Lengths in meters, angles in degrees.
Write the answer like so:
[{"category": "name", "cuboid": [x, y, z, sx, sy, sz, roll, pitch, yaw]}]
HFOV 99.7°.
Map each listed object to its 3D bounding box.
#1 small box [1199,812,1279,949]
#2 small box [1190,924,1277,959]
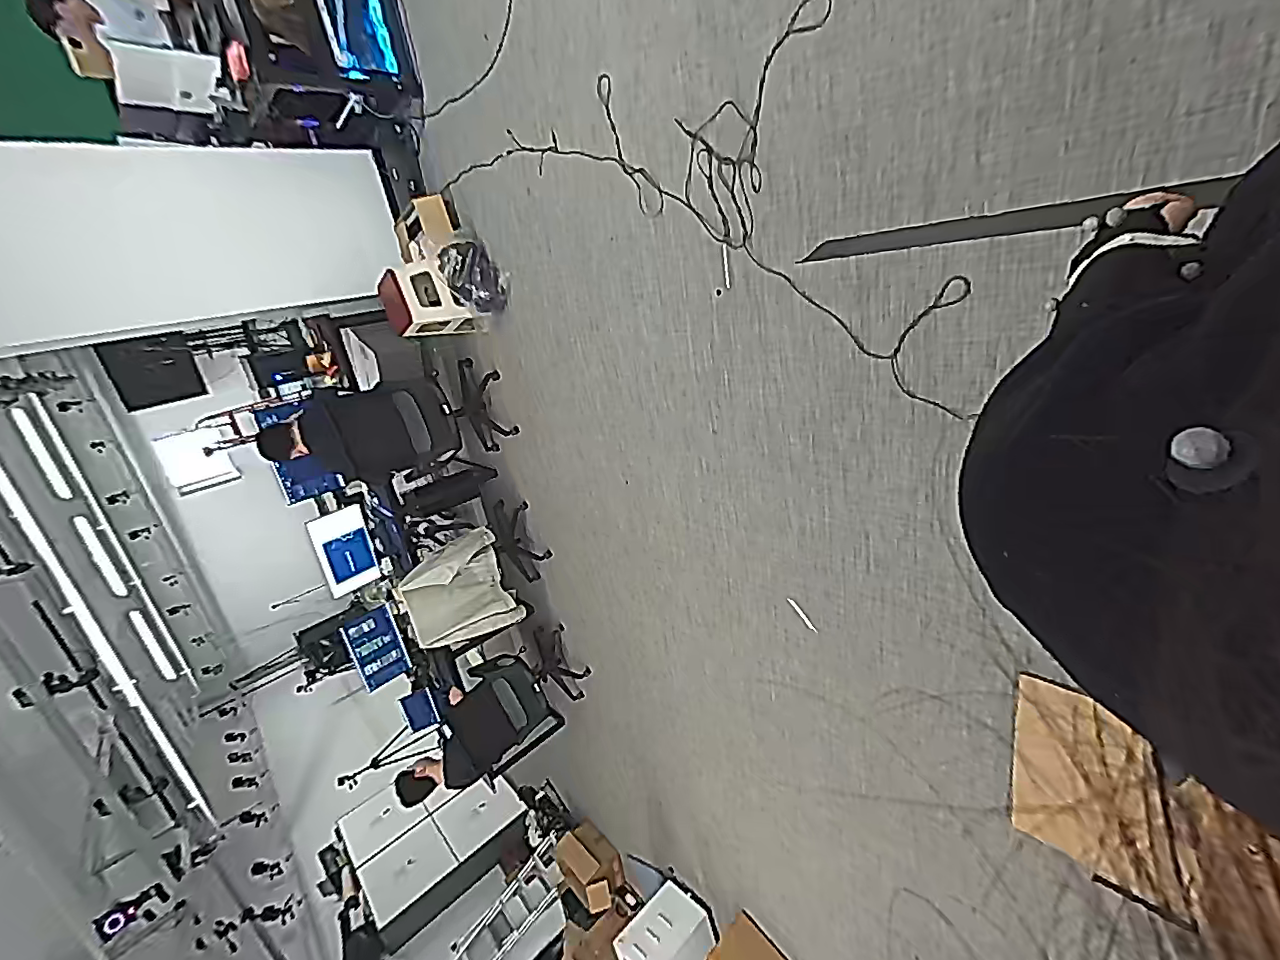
[{"category": "small box", "cuboid": [1.405, 0.901, 1.215, 0.168, 0.176, 0.179, 18, 125, 47]}, {"category": "small box", "cuboid": [1.161, 1.020, 1.029, 0.168, 0.176, 0.179, 15, 121, 47]}]
